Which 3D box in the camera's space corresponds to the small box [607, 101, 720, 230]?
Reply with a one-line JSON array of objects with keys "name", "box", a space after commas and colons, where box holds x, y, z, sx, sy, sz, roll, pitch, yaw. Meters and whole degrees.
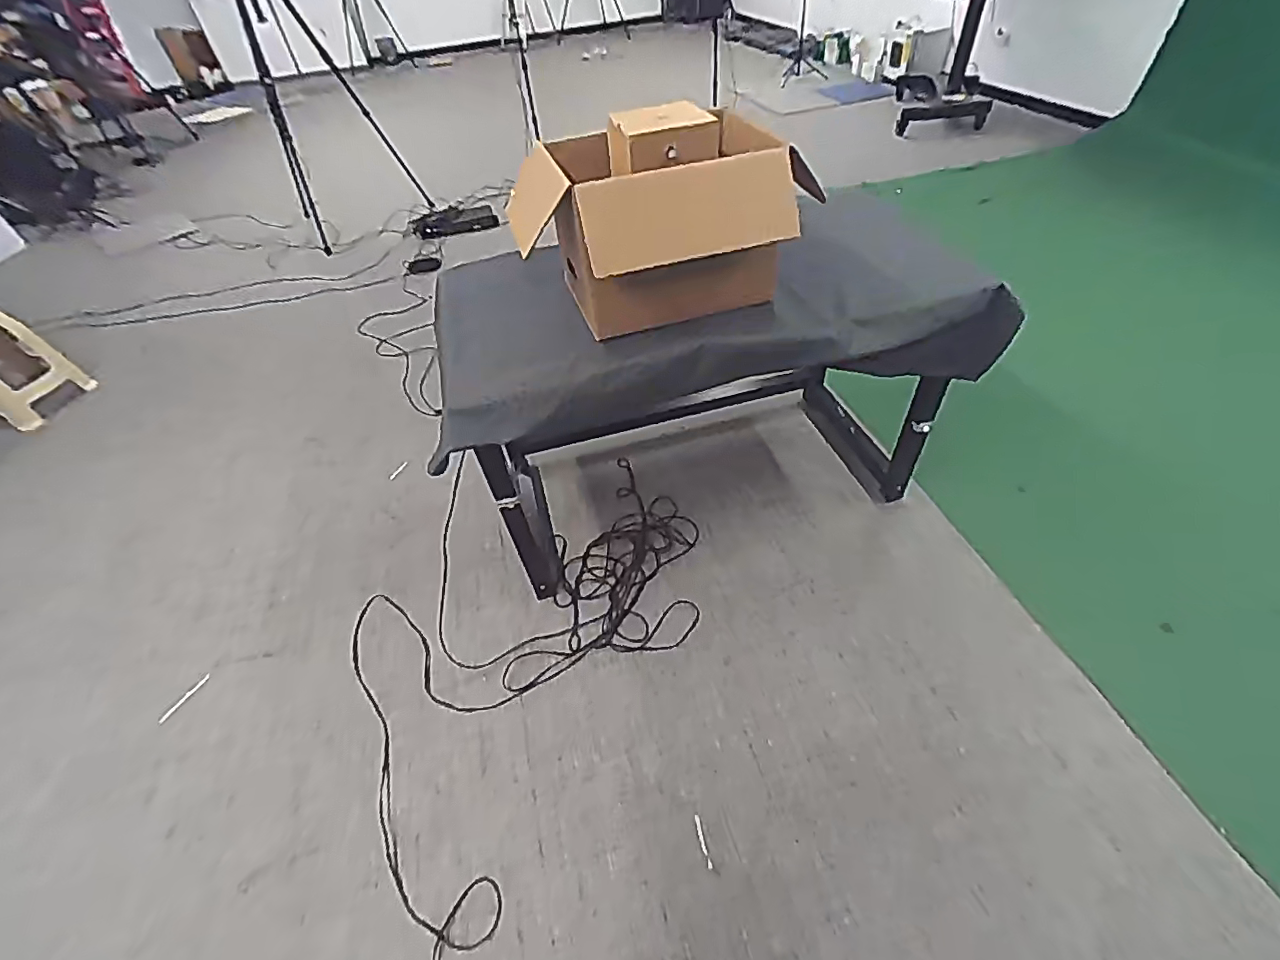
[{"name": "small box", "box": [0.044, -0.622, 1.072, 0.179, 0.176, 0.168, -15, 47, -8]}]
